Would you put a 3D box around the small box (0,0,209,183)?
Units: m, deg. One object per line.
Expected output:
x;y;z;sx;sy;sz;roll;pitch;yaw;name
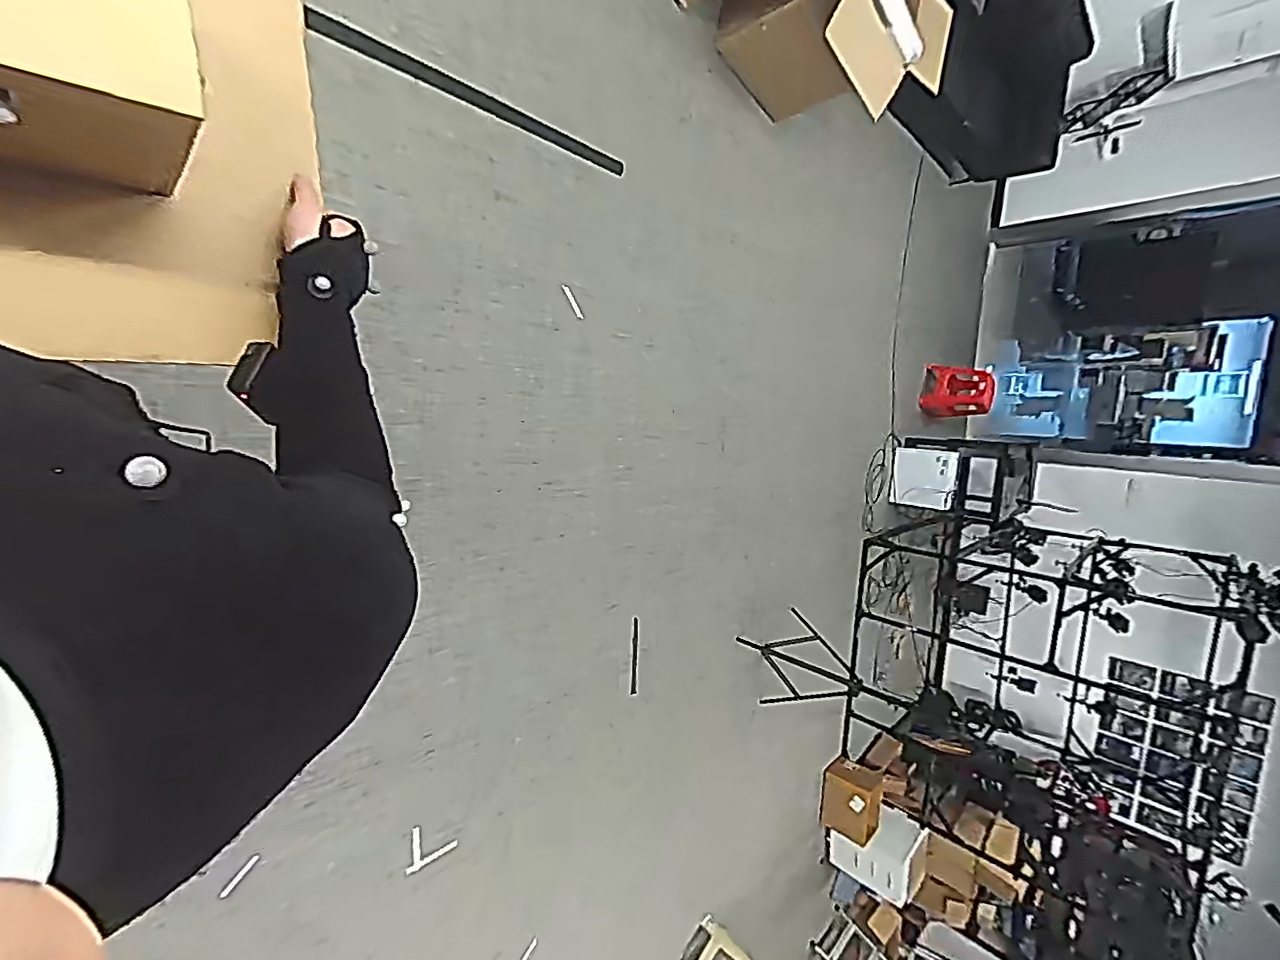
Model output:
-0.420;-0.321;0.358;0.179;0.176;0.168;-11;101;-45;small box
